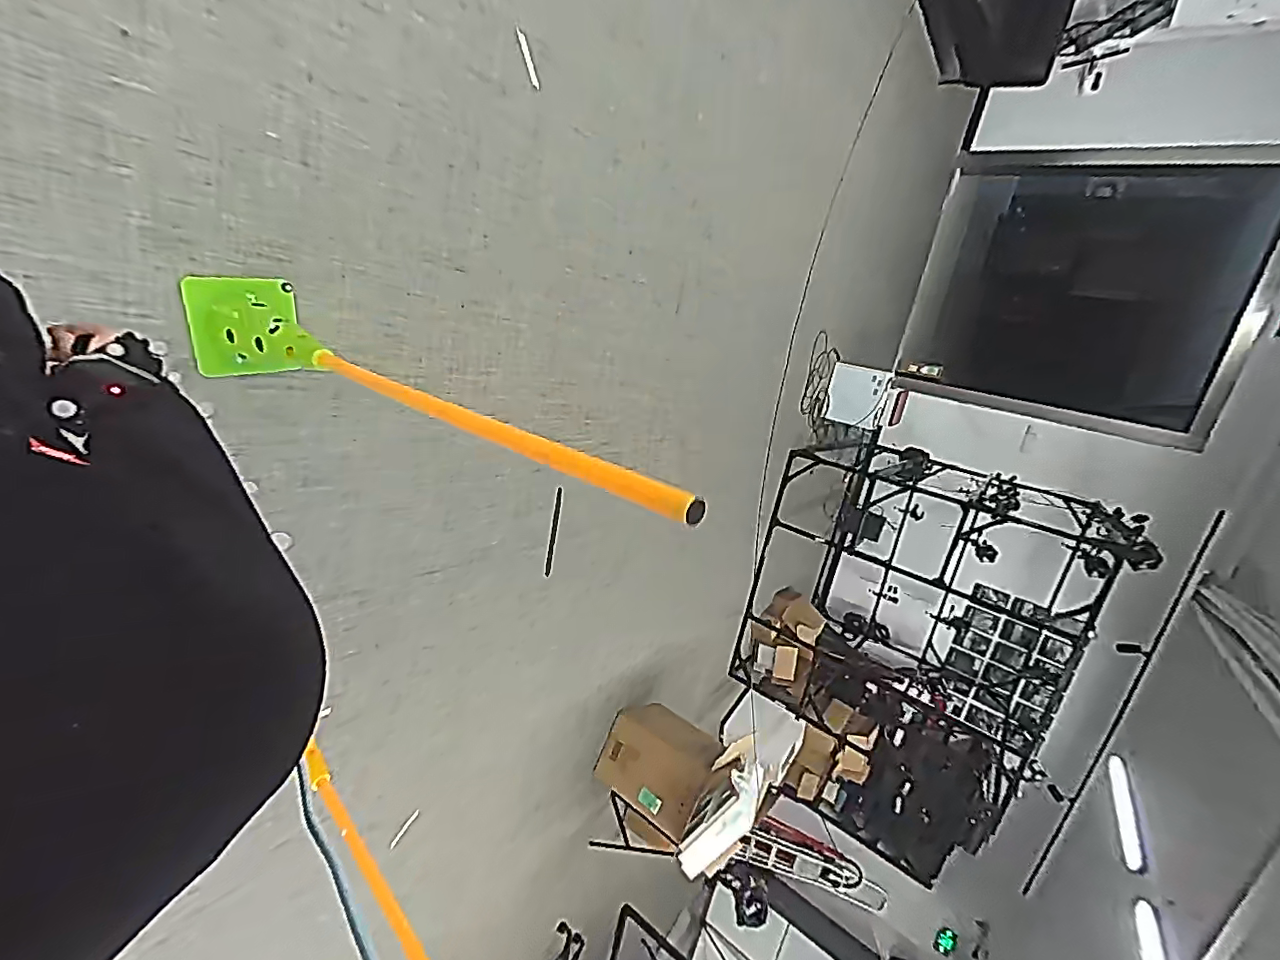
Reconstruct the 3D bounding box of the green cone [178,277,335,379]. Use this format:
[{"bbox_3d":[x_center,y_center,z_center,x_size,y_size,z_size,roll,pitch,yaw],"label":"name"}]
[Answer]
[{"bbox_3d":[-0.706,-0.264,1.053,0.200,0.368,0.202,-23,128,-48],"label":"green cone"}]
